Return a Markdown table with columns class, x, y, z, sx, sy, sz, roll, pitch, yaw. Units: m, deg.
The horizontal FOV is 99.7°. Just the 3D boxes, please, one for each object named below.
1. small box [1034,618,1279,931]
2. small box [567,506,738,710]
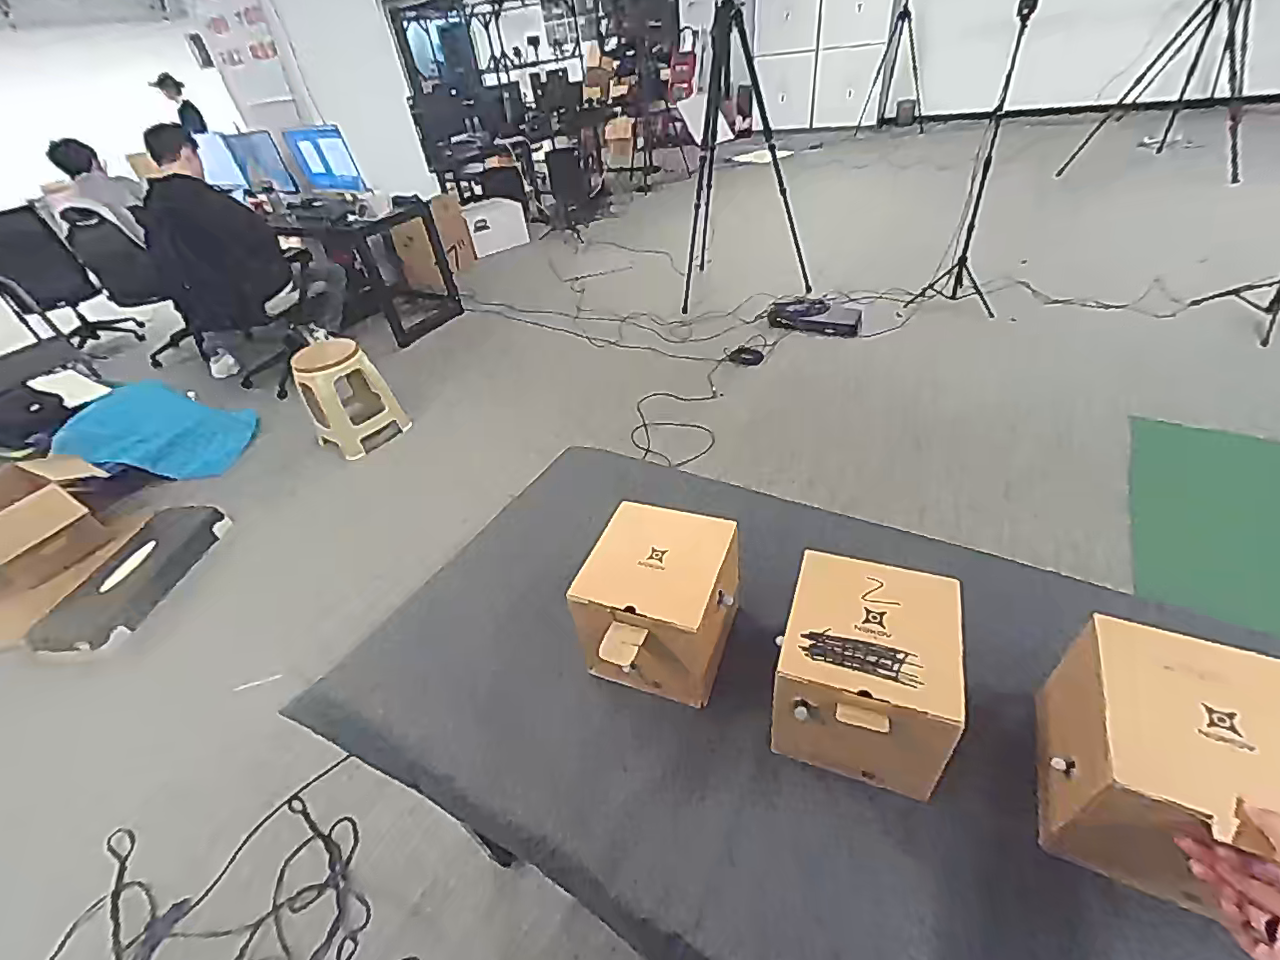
| class | x | y | z | sx | sy | sz | roll | pitch | yaw |
| --- | --- | --- | --- | --- | --- | --- | --- | --- | --- |
| small box | 0.489 | 0.266 | 0.499 | 0.168 | 0.176 | 0.179 | 13 | 45 | 23 |
| small box | 0.026 | 0.163 | 0.711 | 0.168 | 0.176 | 0.179 | 9 | 42 | 20 |
